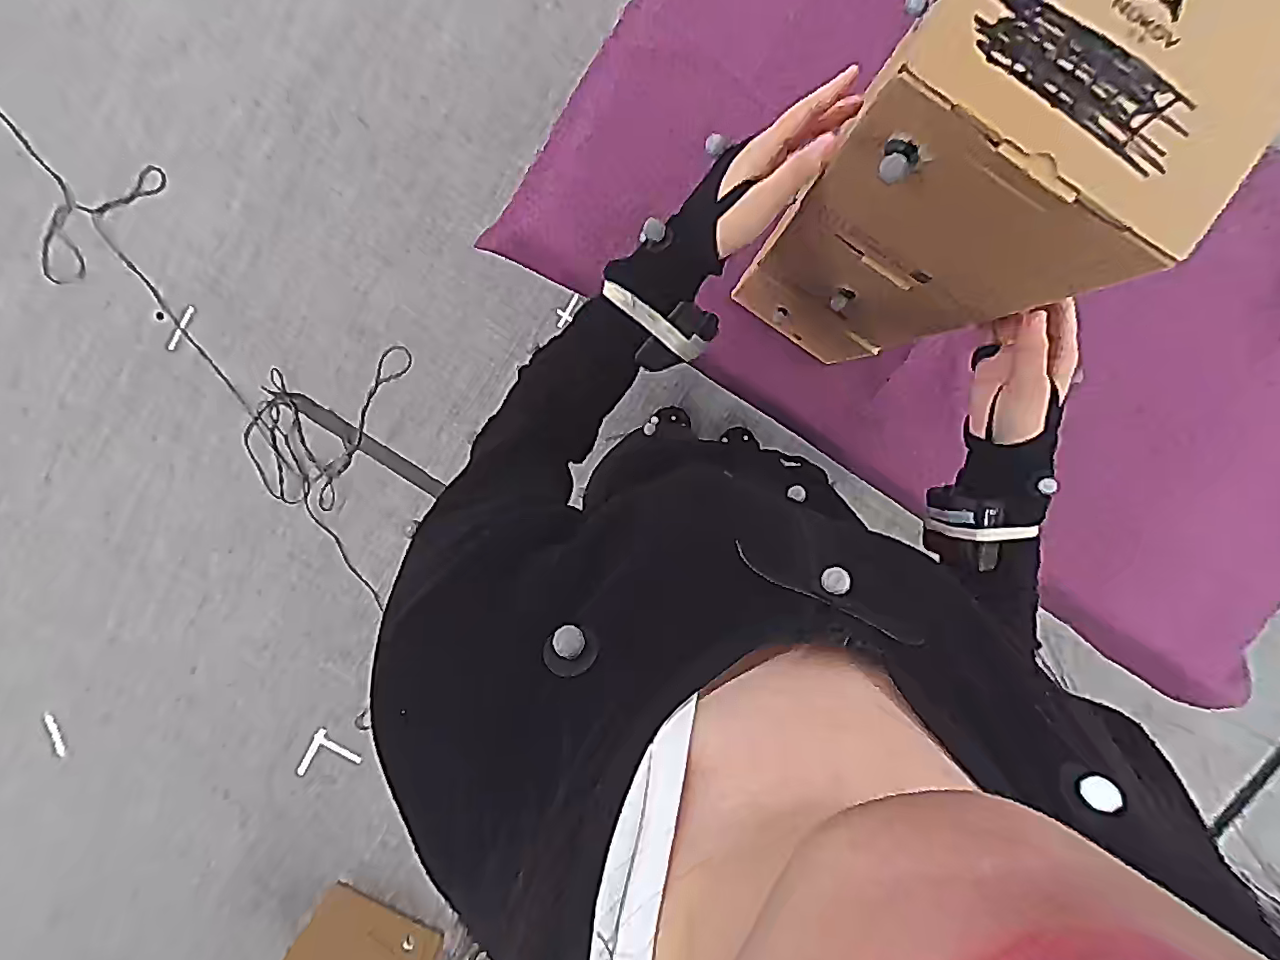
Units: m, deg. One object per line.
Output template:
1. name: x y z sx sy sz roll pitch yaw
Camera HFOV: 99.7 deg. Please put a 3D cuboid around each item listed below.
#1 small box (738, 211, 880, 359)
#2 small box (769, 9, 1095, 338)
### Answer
1. small box: 0.237 -0.266 0.661 0.168 0.176 0.179 34 96 -4
2. small box: 0.238 -0.250 0.498 0.168 0.176 0.179 31 97 -4
